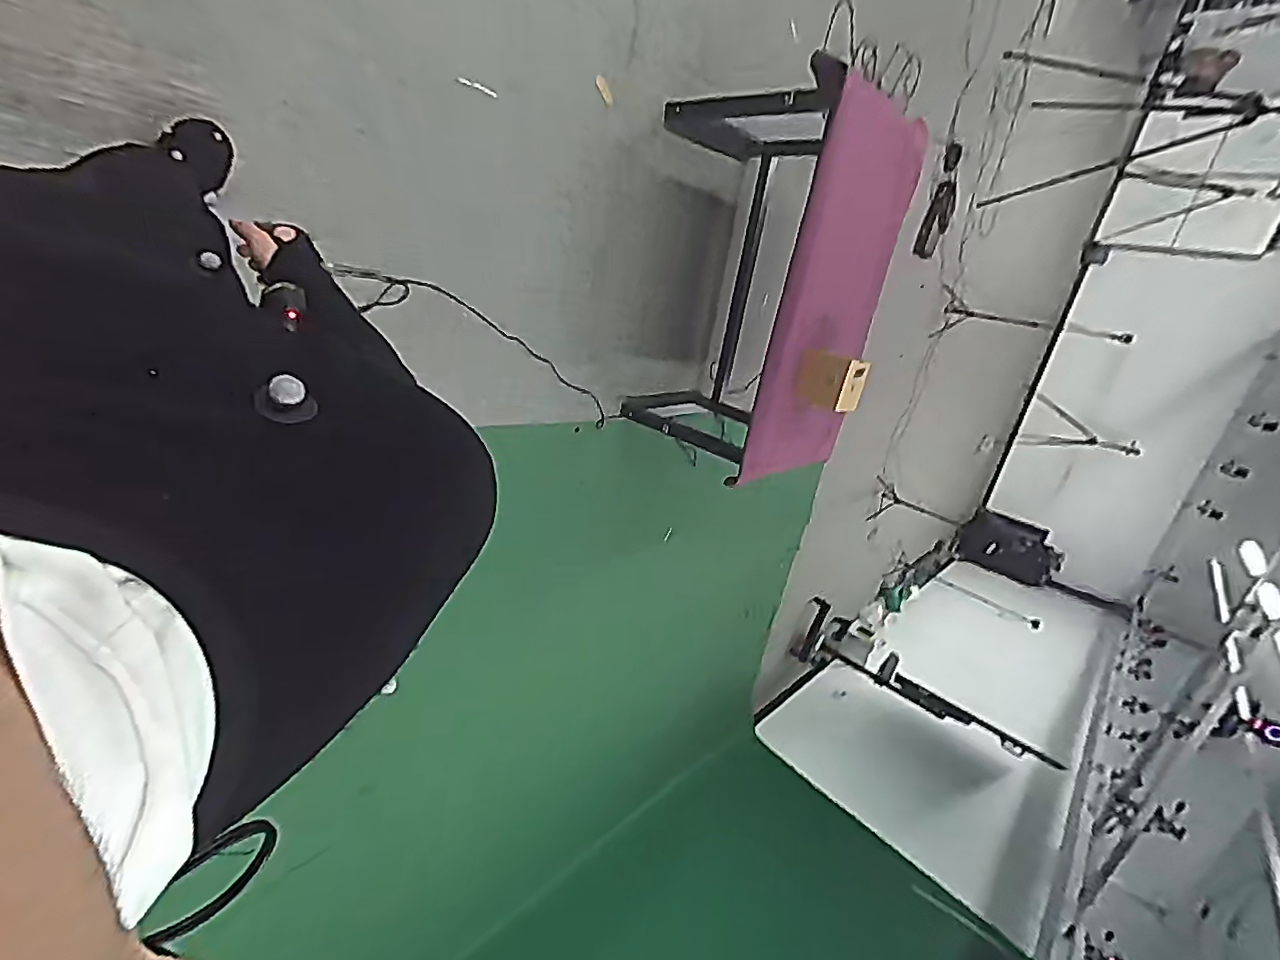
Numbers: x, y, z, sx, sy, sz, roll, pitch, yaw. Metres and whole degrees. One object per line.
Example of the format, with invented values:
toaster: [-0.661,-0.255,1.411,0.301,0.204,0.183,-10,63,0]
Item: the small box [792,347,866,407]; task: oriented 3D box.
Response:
small box: [0.655,-0.362,1.891,0.168,0.176,0.179,-9,118,-46]
